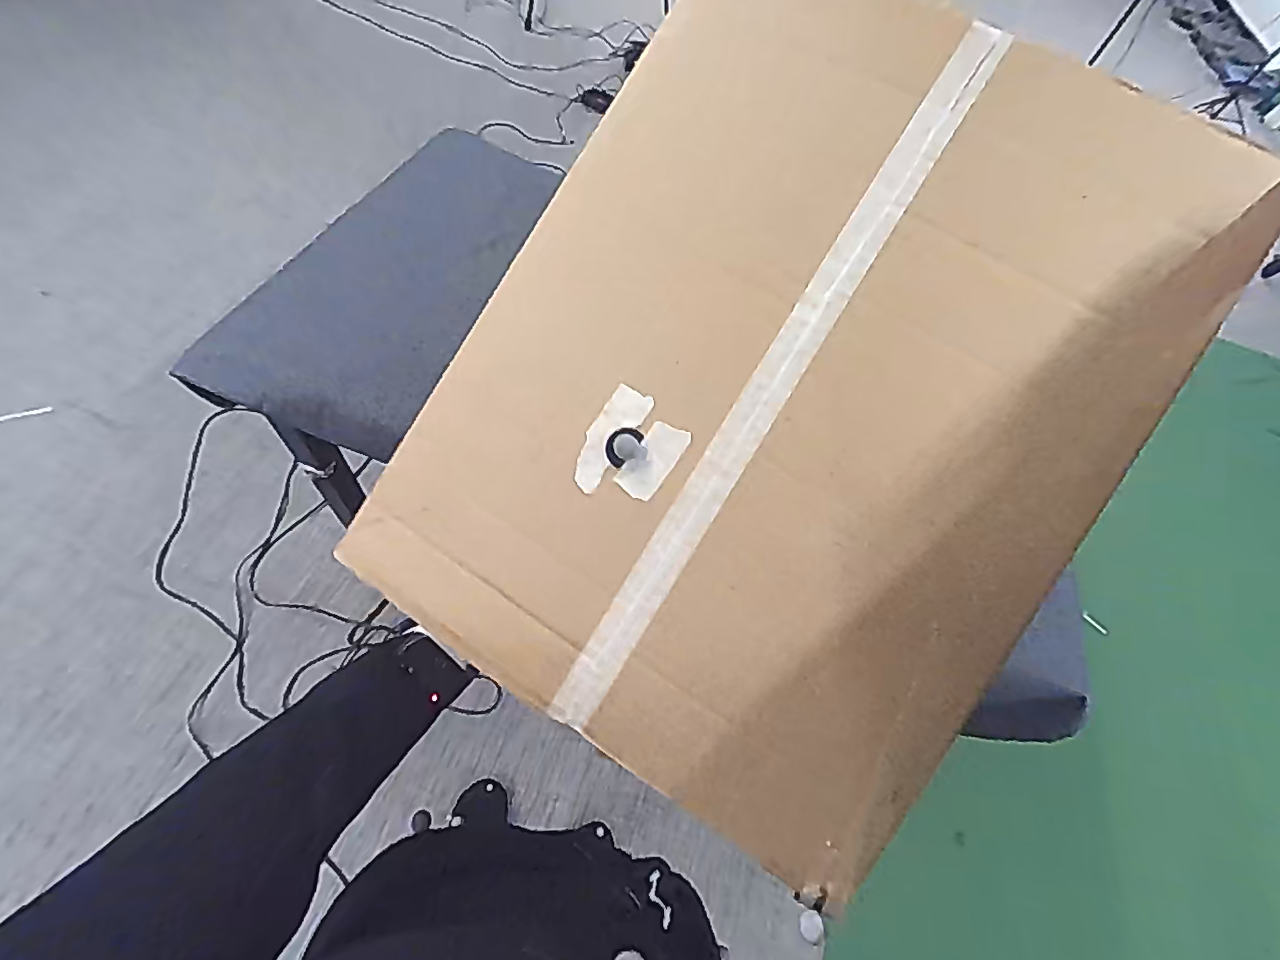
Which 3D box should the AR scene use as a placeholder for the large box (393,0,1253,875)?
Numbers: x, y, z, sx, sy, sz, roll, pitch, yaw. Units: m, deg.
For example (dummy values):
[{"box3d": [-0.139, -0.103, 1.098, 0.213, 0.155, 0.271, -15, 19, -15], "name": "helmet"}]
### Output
[{"box3d": [0.099, -0.036, 0.439, 0.320, 0.320, 0.408, 31, 92, 9], "name": "large box"}]
